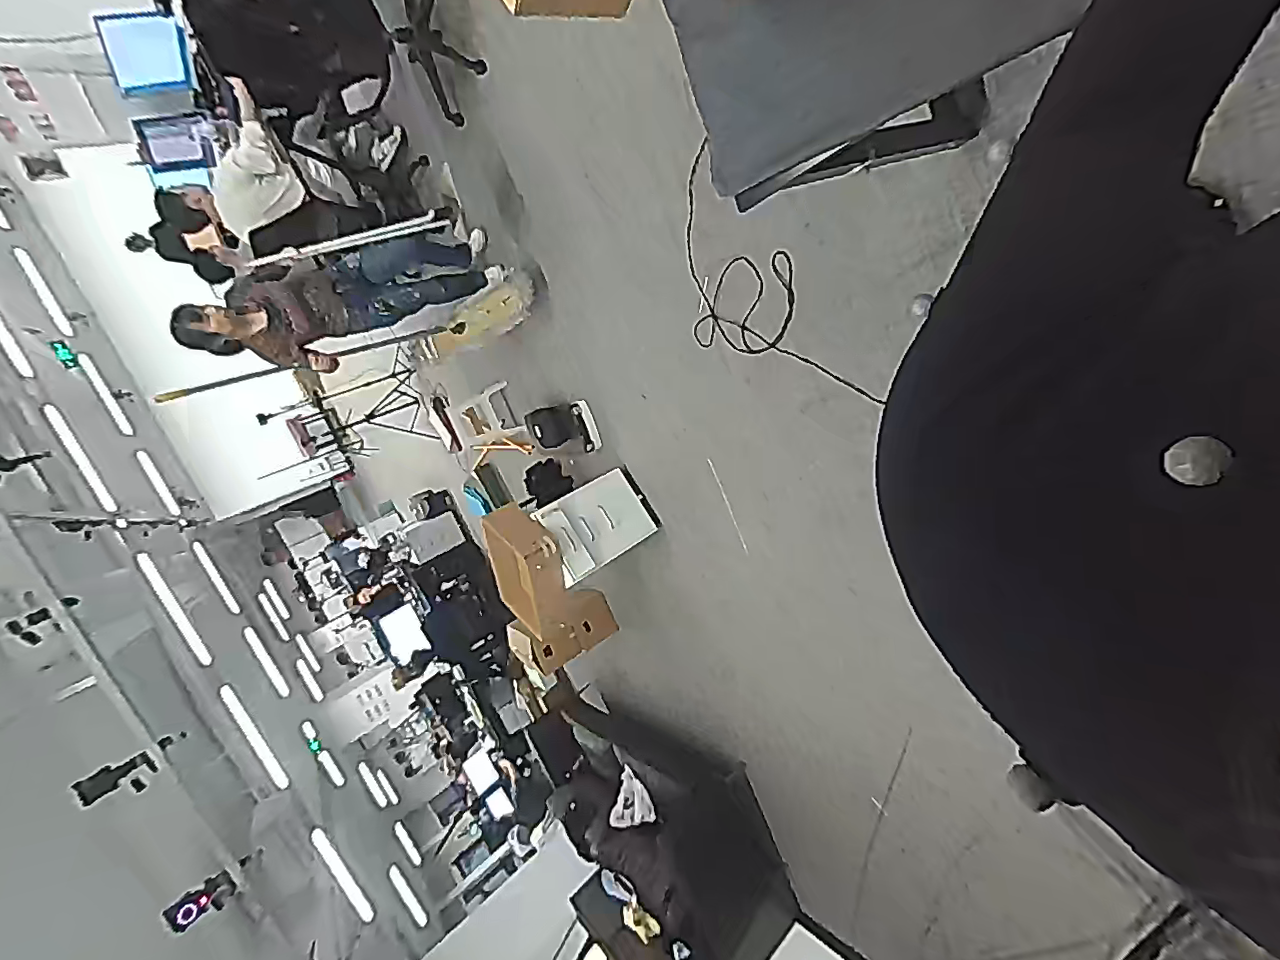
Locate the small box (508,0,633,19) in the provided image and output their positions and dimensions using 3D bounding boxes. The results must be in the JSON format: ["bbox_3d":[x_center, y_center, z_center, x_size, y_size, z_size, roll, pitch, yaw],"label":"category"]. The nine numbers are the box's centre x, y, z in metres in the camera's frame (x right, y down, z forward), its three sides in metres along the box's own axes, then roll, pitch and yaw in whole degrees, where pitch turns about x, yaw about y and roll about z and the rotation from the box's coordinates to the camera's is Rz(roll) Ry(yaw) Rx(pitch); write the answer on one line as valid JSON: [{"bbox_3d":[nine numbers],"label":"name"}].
[{"bbox_3d":[-0.082,-0.647,0.578,0.168,0.176,0.179,58,149,3],"label":"small box"}]
